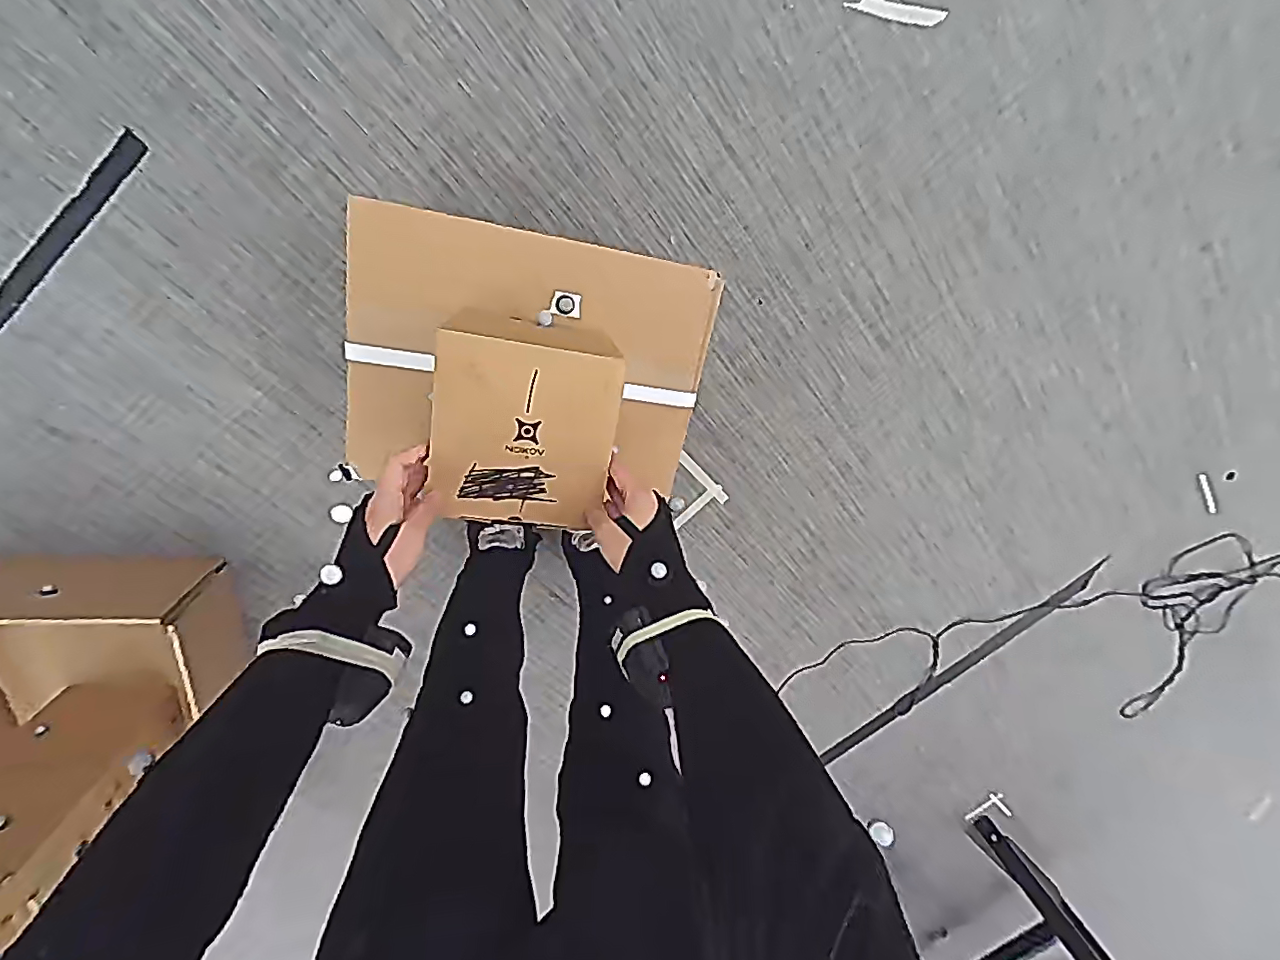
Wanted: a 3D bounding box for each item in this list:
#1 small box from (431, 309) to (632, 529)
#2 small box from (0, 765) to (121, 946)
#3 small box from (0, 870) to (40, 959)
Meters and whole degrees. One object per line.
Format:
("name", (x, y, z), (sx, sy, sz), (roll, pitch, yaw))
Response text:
("small box", (-0.115, -0.070, 0.569), (0.168, 0.176, 0.179), (7, 111, -14))
("small box", (-0.917, 0.545, 0.794), (0.179, 0.176, 0.168), (6, 111, -13))
("small box", (-0.898, 0.601, 0.641), (0.179, 0.176, 0.168), (5, 111, -12))
